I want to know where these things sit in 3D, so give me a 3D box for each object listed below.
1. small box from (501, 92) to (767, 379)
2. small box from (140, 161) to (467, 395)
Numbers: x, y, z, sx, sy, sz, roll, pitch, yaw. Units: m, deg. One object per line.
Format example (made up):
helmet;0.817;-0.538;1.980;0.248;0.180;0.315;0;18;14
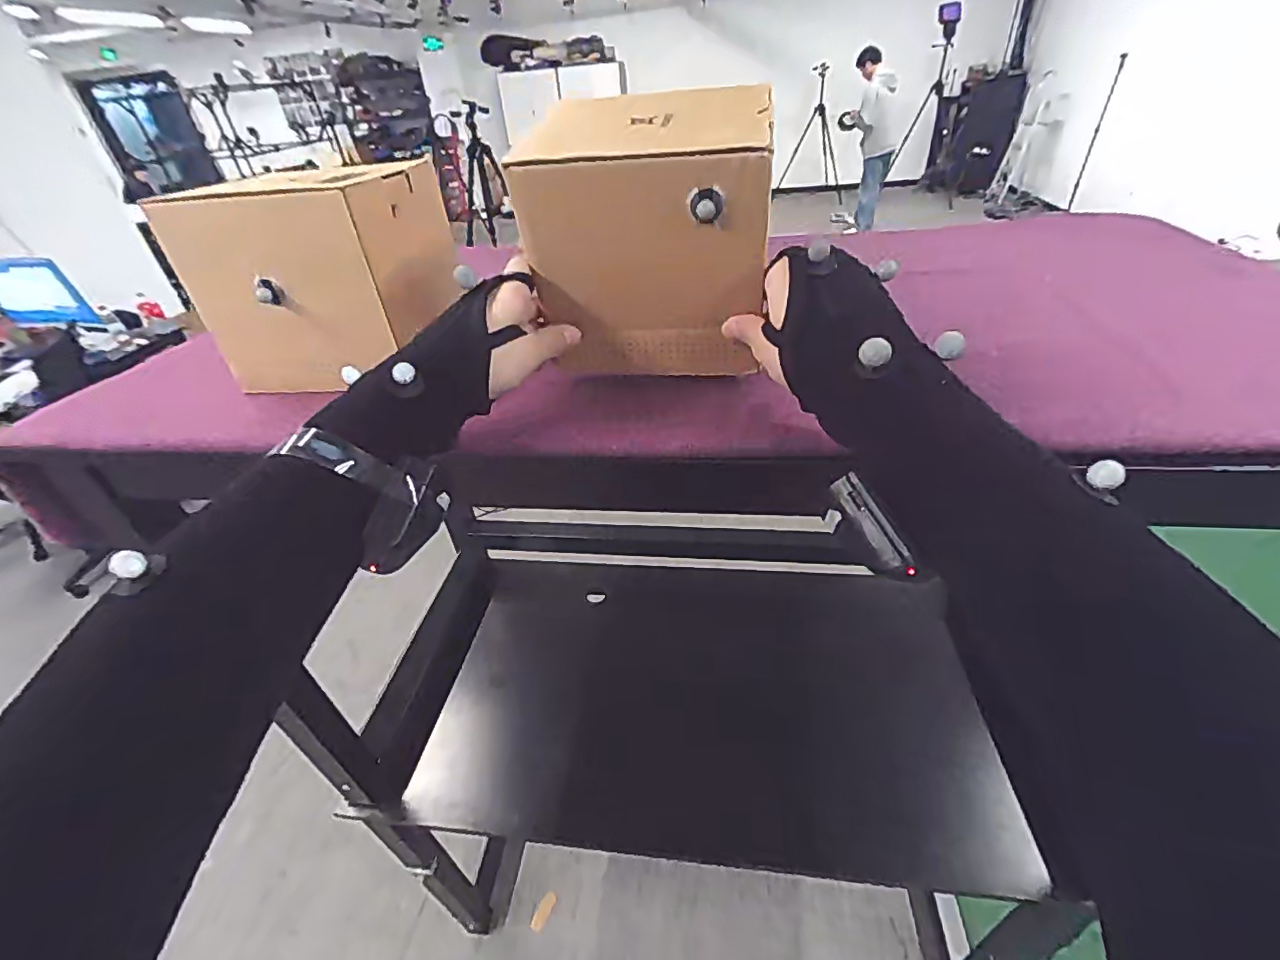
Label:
small box;0.013;-0.198;0.450;0.179;0.176;0.168;2;47;10
small box;-0.290;-0.192;0.518;0.179;0.176;0.168;-1;36;8
